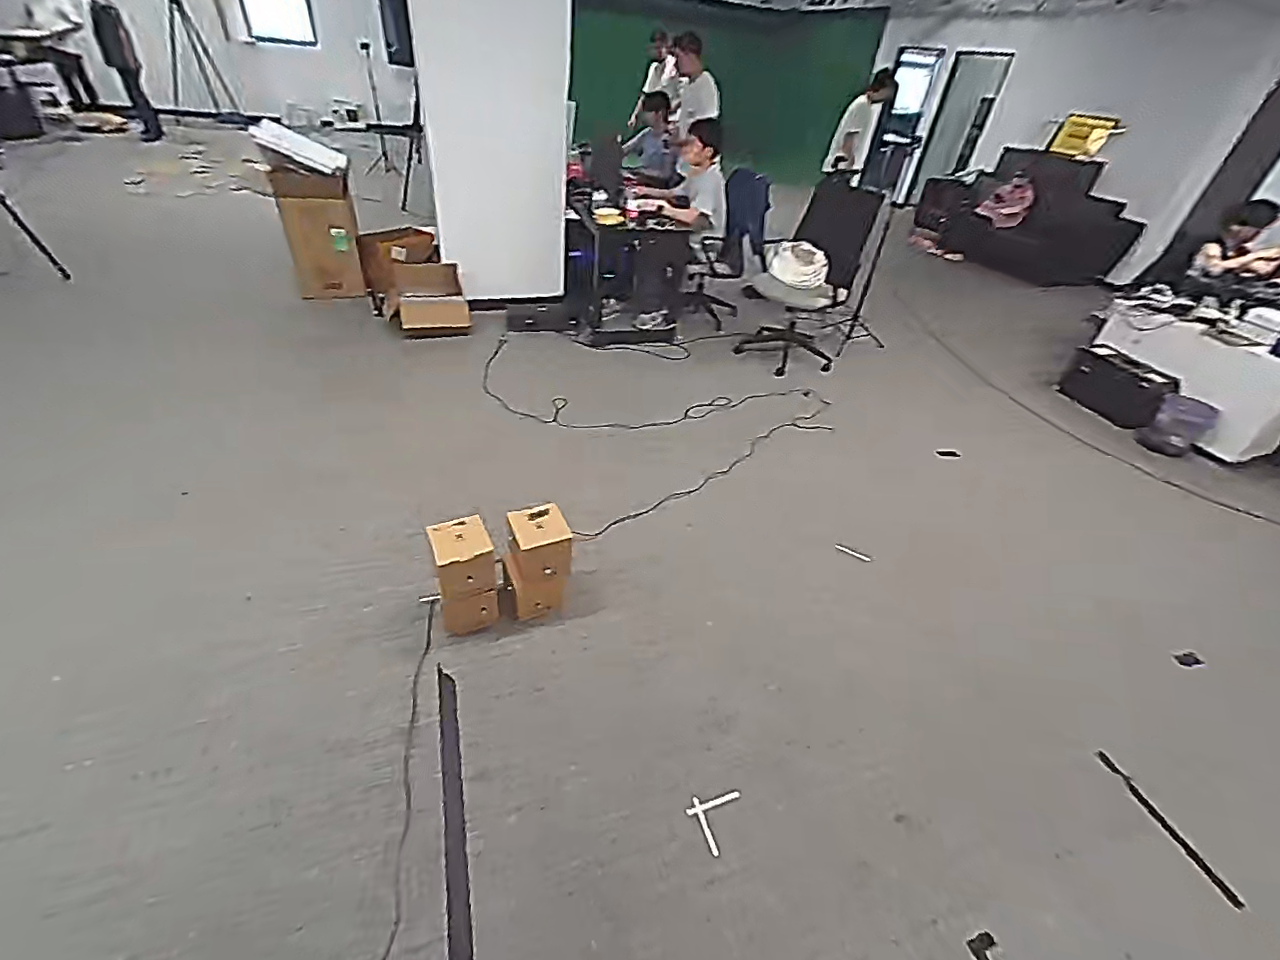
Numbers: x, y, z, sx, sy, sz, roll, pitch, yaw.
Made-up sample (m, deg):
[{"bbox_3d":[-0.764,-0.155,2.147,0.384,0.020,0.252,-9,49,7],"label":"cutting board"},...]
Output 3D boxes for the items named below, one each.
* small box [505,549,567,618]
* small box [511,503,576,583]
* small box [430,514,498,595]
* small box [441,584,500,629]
[{"bbox_3d":[-0.357,0.339,1.850,0.168,0.176,0.179,-13,43,-24],"label":"small box"},{"bbox_3d":[-0.318,0.203,1.761,0.168,0.176,0.179,-13,44,-23],"label":"small box"},{"bbox_3d":[-0.545,0.237,1.682,0.168,0.176,0.179,-13,43,-25],"label":"small box"},{"bbox_3d":[-0.560,0.370,1.779,0.168,0.176,0.179,-10,41,-22],"label":"small box"}]
